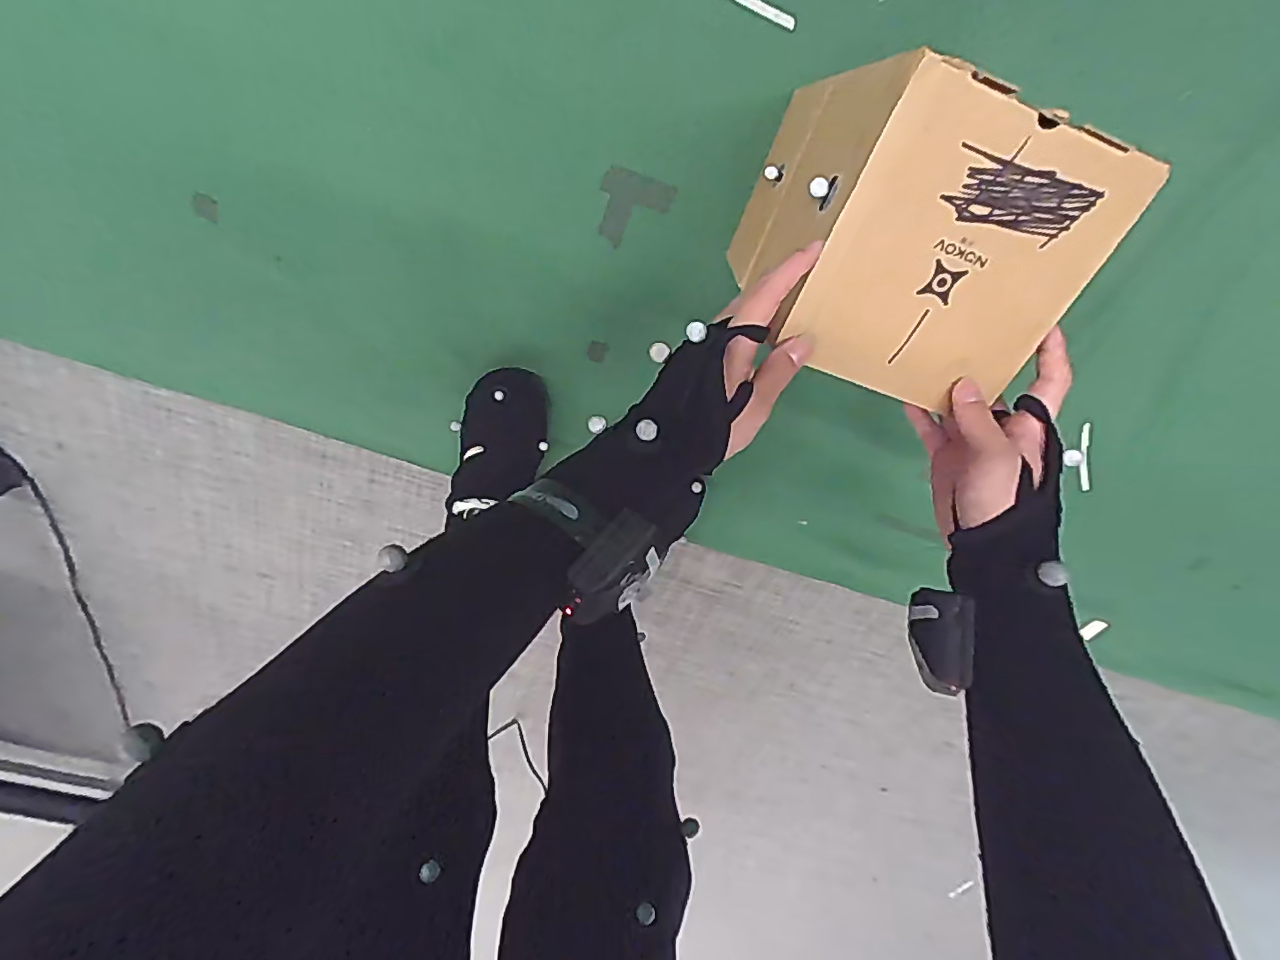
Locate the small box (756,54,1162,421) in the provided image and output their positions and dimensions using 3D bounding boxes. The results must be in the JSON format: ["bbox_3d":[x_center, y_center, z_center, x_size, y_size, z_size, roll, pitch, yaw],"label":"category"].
[{"bbox_3d":[0.203,-0.179,0.411,0.168,0.176,0.179,19,122,-9],"label":"small box"}]

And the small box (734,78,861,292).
[{"bbox_3d":[0.207,-0.268,0.550,0.168,0.176,0.179,19,122,-9],"label":"small box"}]
